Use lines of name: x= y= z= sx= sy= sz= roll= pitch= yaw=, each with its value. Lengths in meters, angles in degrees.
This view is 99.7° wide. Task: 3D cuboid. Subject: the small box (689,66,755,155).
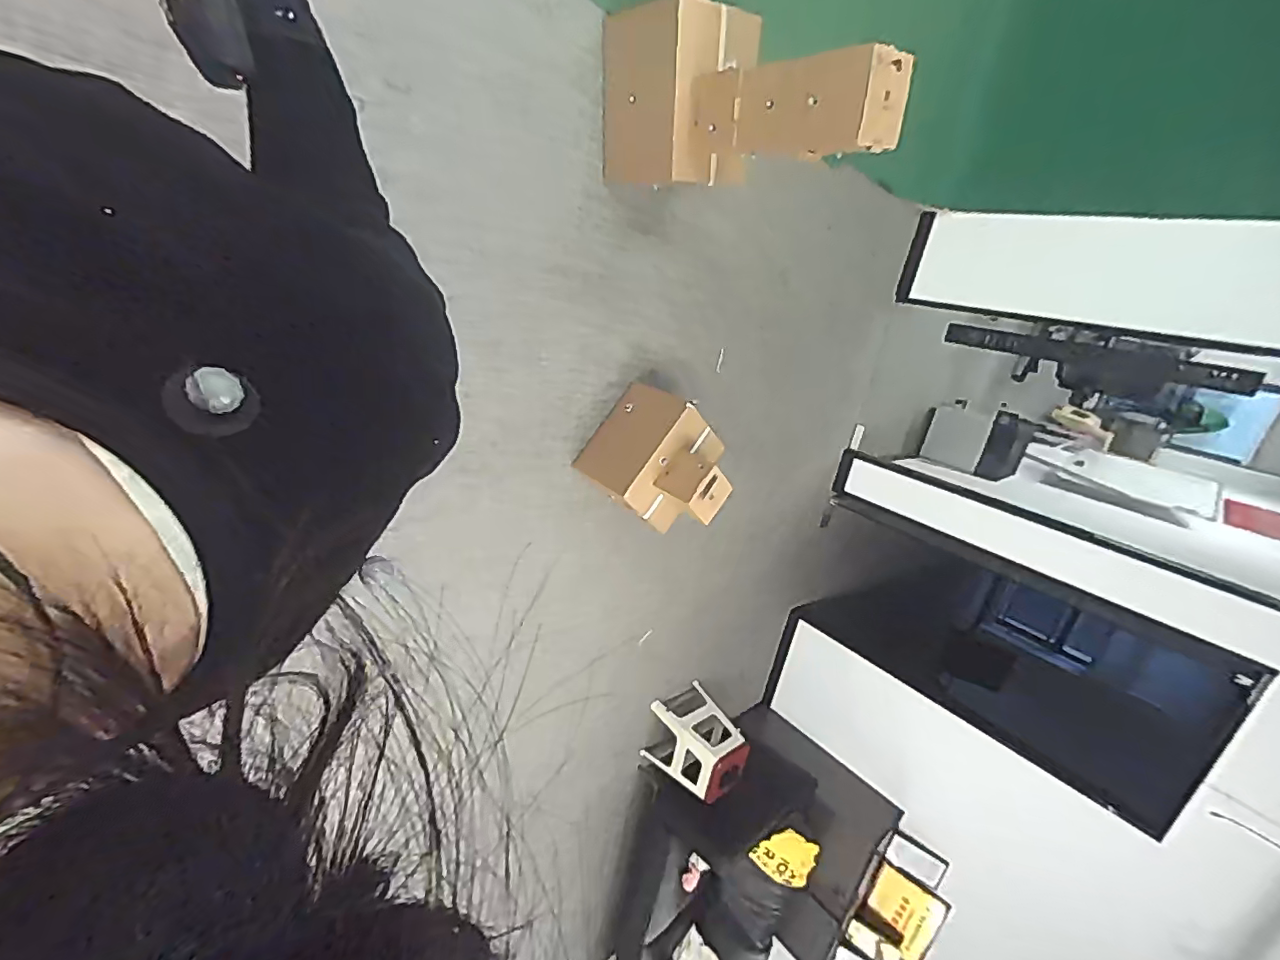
small box: x=0.246 y=-0.952 z=1.407 sx=0.179 sy=0.176 sz=0.168 roll=-20 pitch=125 yaw=-36

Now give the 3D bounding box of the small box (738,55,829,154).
small box: x=0.354 y=-0.891 z=1.301 sx=0.168 sy=0.176 sz=0.179 roll=-21 pitch=125 yaw=-35

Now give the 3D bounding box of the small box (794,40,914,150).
small box: x=0.464 y=-0.835 z=1.192 sx=0.168 sy=0.176 sz=0.179 roll=-21 pitch=126 yaw=-36

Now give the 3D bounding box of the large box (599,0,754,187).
large box: x=0.097 y=-1.080 z=1.558 sx=0.320 sy=0.320 sz=0.408 roll=-22 pitch=124 yaw=-37
